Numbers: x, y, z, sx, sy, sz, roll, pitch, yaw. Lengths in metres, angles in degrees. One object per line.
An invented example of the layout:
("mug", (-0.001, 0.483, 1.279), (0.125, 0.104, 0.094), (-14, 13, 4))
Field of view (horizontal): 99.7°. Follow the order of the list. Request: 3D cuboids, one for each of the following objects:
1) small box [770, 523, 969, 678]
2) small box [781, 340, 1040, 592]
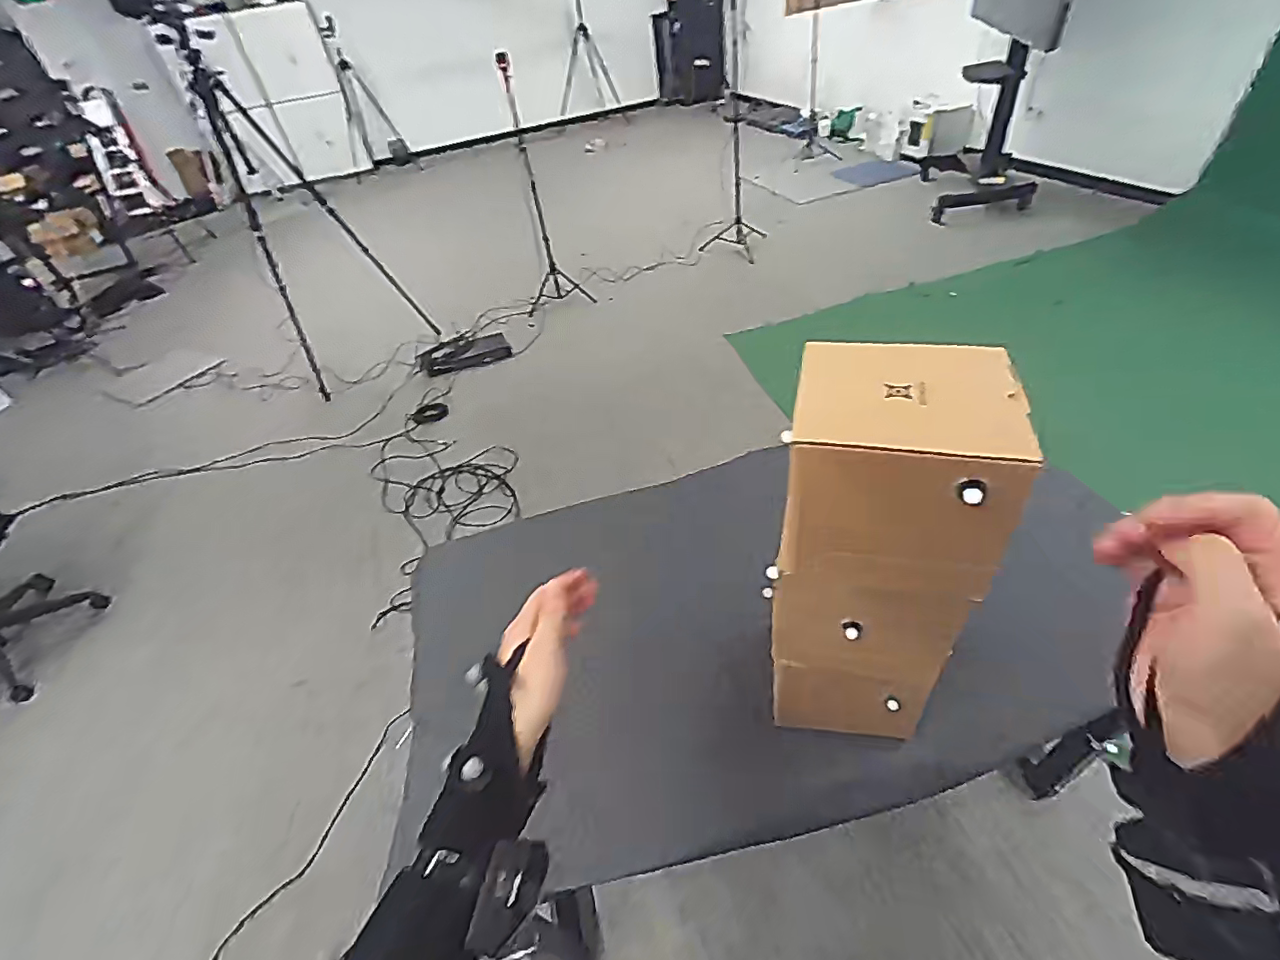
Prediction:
("small box", (0.249, 0.102, 0.618), (0.179, 0.176, 0.168), (6, 44, 18))
("small box", (0.231, -0.015, 0.508), (0.179, 0.176, 0.168), (6, 44, 17))
